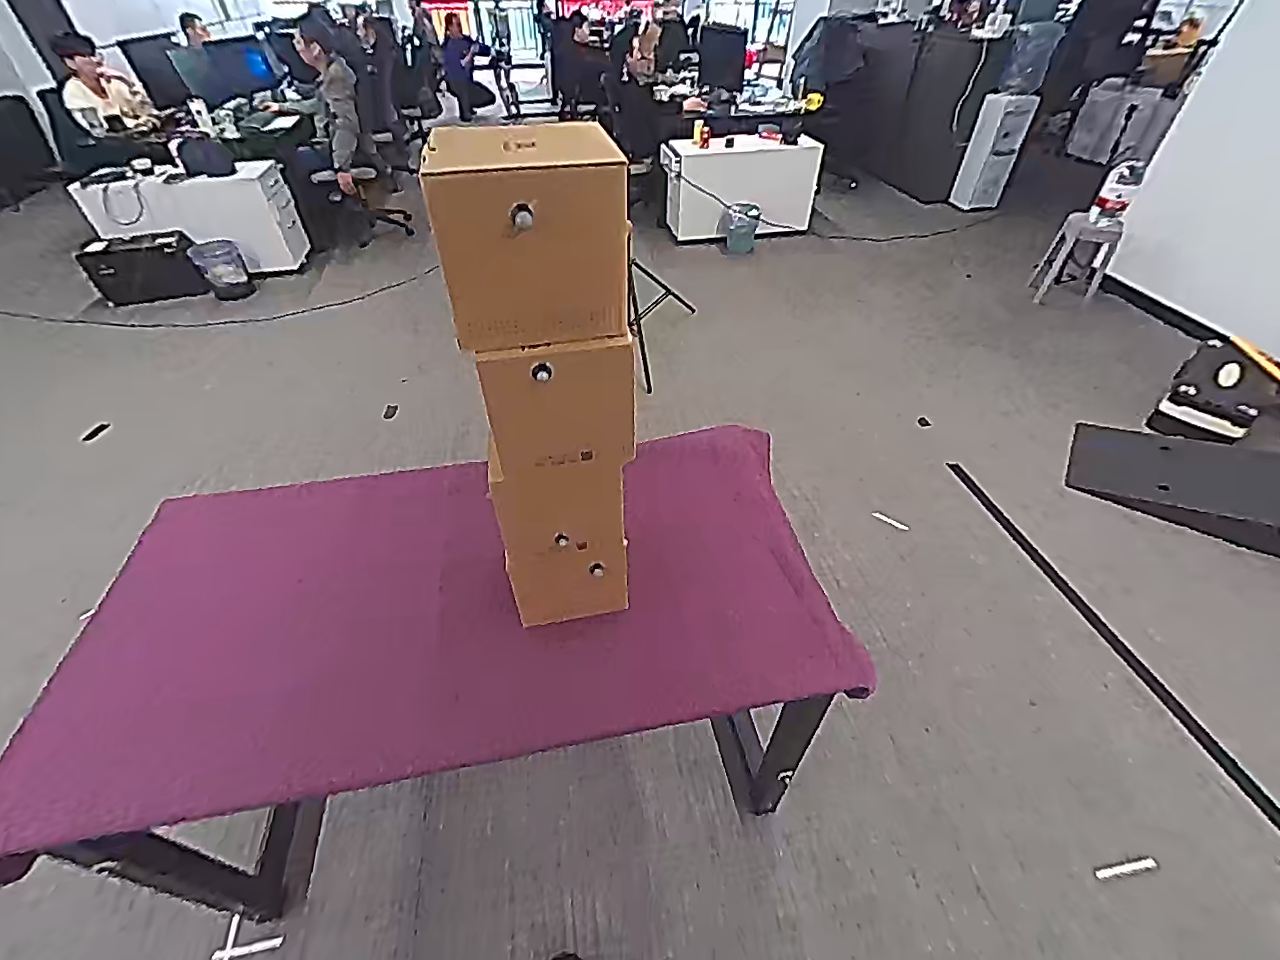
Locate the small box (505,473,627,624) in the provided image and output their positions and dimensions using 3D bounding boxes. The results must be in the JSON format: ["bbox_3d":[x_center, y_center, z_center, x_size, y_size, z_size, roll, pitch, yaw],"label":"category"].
[{"bbox_3d":[-0.120,0.114,0.891,0.179,0.176,0.168,-9,43,-8],"label":"small box"}]

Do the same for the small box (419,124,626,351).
[{"bbox_3d":[-0.114,-0.253,0.566,0.179,0.176,0.168,-9,44,-9],"label":"small box"}]

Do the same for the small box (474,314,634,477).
[{"bbox_3d":[-0.104,-0.127,0.670,0.168,0.176,0.179,-9,44,-8],"label":"small box"}]
